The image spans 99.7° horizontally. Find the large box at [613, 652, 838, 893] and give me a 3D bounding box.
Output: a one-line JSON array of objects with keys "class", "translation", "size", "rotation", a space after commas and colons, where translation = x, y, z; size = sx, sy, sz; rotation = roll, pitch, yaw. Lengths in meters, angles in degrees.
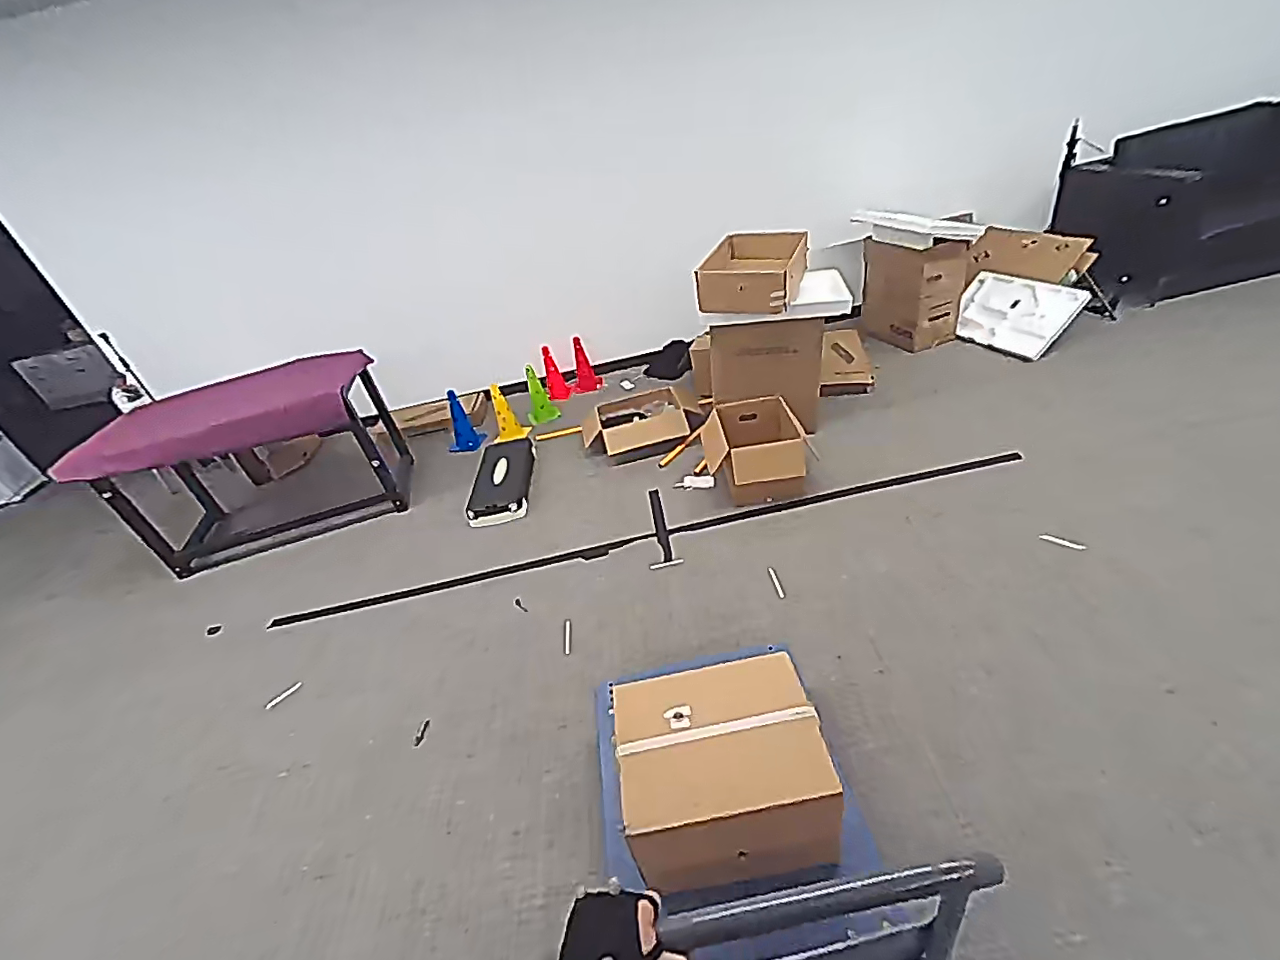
[{"class": "large box", "translation": [0.180, 0.640, 1.190], "size": [0.408, 0.320, 0.320], "rotation": [-13, 33, 1]}]
